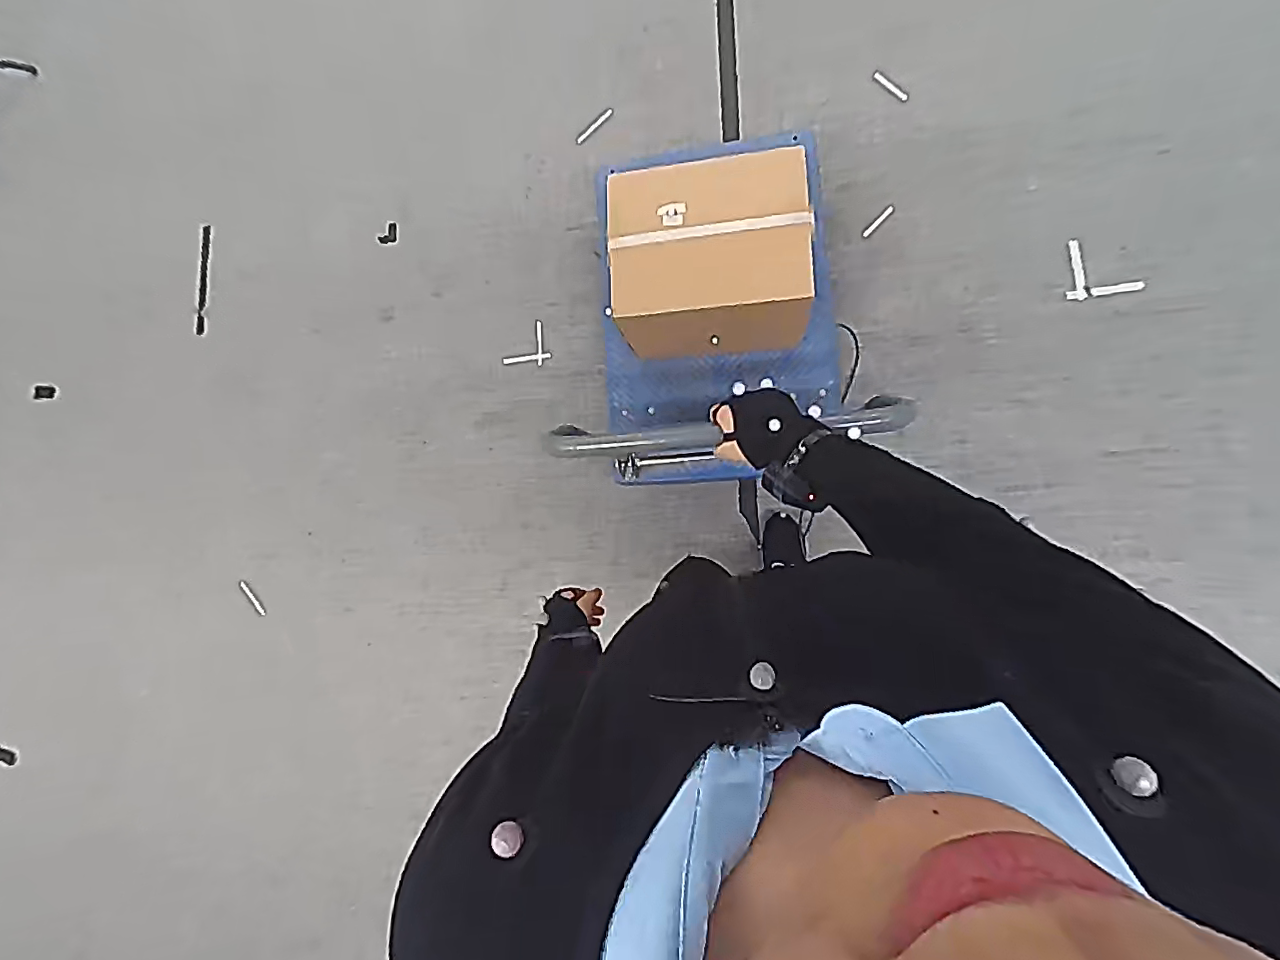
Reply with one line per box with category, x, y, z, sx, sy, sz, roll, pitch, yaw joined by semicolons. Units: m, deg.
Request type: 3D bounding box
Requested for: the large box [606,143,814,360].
large box;0.161;-0.480;1.220;0.408;0.320;0.320;-3;84;12
